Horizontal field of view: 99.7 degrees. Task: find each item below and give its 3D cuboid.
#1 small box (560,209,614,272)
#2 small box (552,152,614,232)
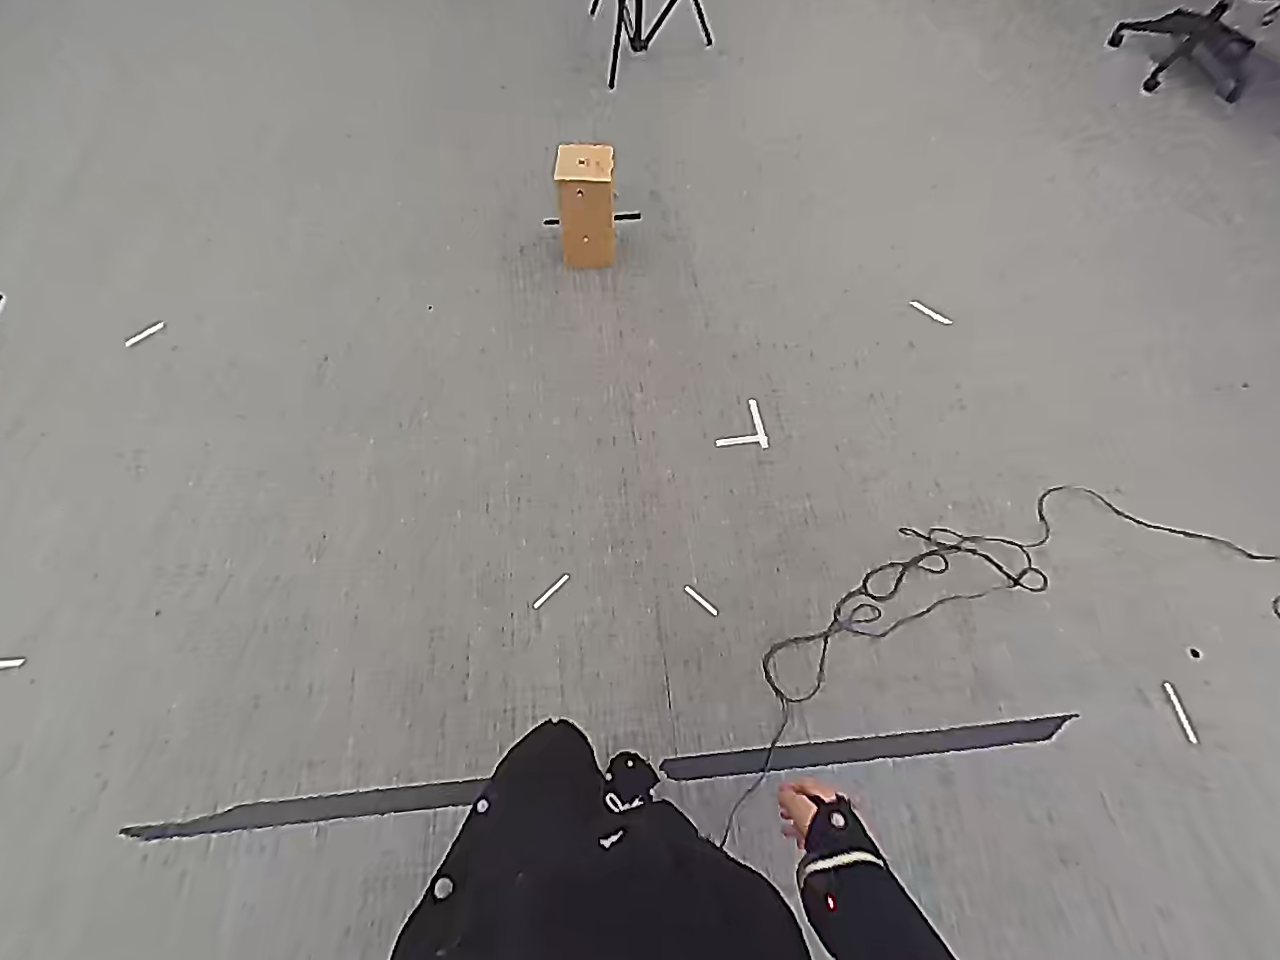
[{"bbox_3d":[-0.181,-0.850,1.892,0.179,0.176,0.168,-1,65,-2],"label":"small box"},{"bbox_3d":[-0.179,-0.926,1.746,0.179,0.176,0.168,2,66,0],"label":"small box"}]
